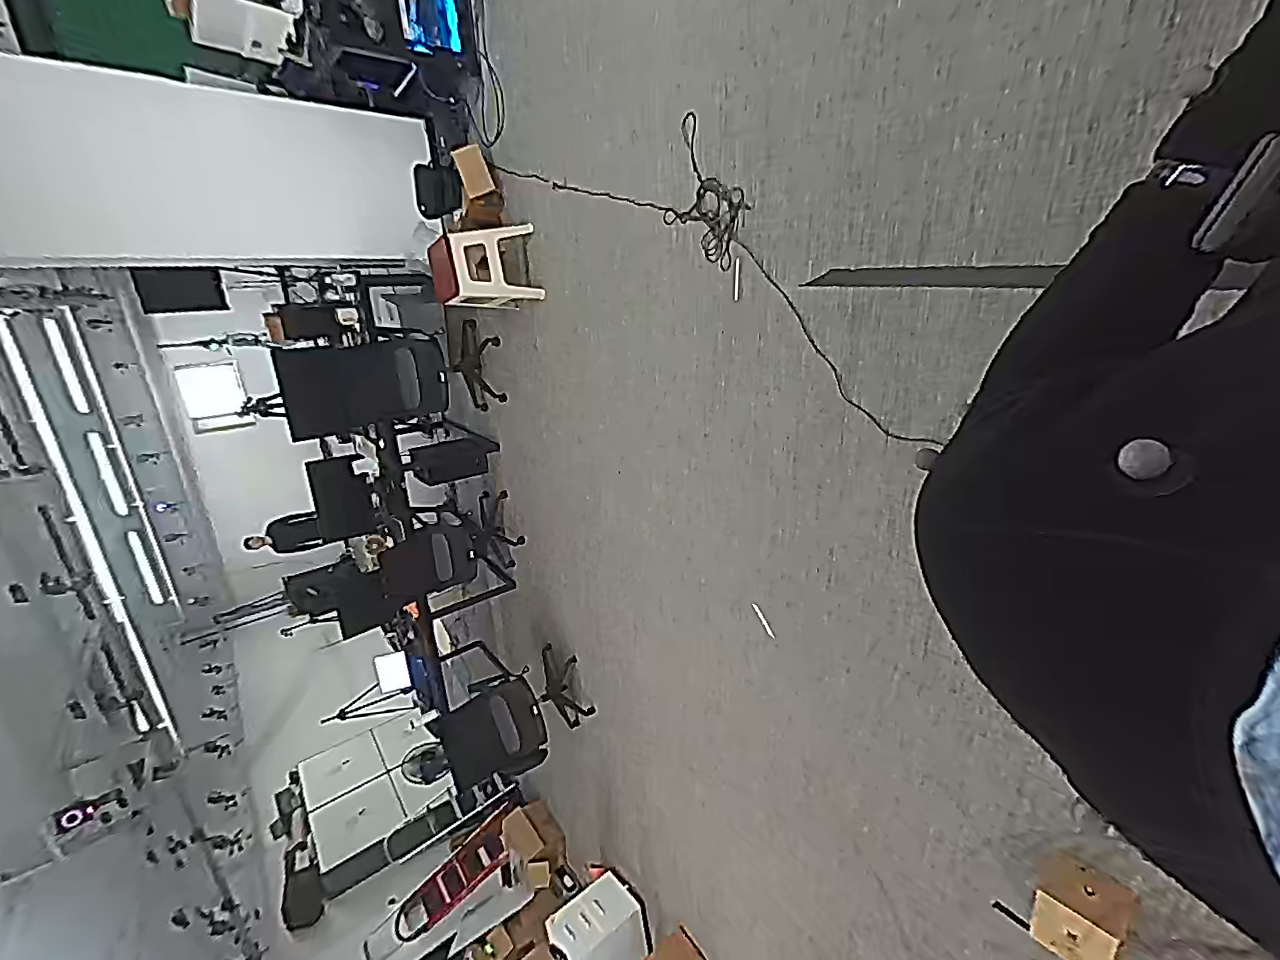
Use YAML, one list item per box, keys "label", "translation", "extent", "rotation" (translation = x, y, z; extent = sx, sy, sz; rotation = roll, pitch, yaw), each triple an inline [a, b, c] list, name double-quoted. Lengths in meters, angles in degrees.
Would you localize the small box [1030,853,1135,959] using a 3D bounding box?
- label: "small box"
  translation: [1.154, 1.134, 1.409]
  extent: [0.168, 0.176, 0.179]
  rotation: [18, 118, 50]
